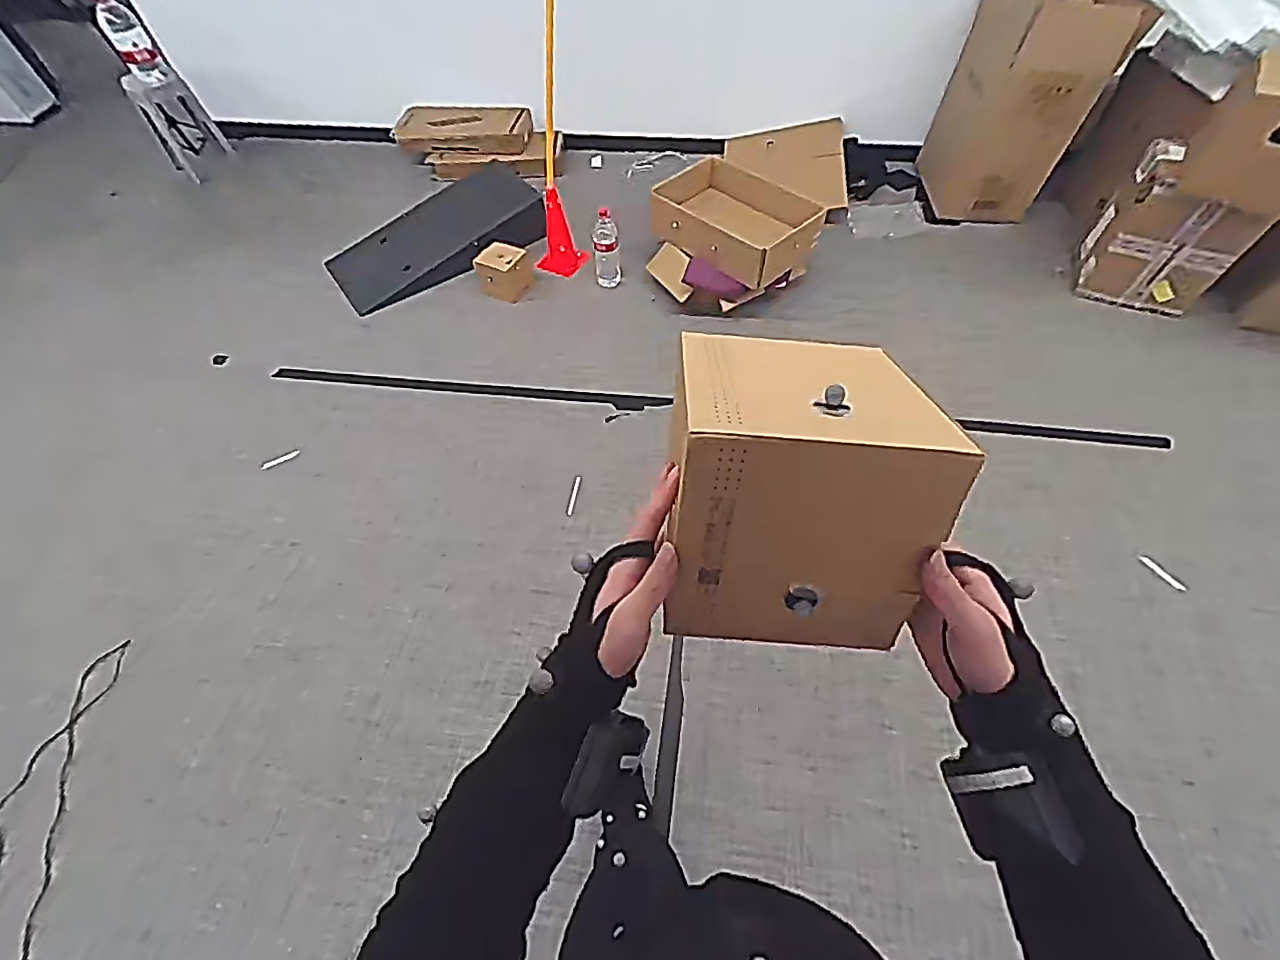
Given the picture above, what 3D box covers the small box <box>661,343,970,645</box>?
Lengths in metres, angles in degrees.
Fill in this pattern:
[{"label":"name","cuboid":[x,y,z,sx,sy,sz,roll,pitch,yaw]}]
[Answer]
[{"label":"small box","cuboid":[0.105,0.003,0.422,0.176,0.168,0.179,5,33,-2]}]
